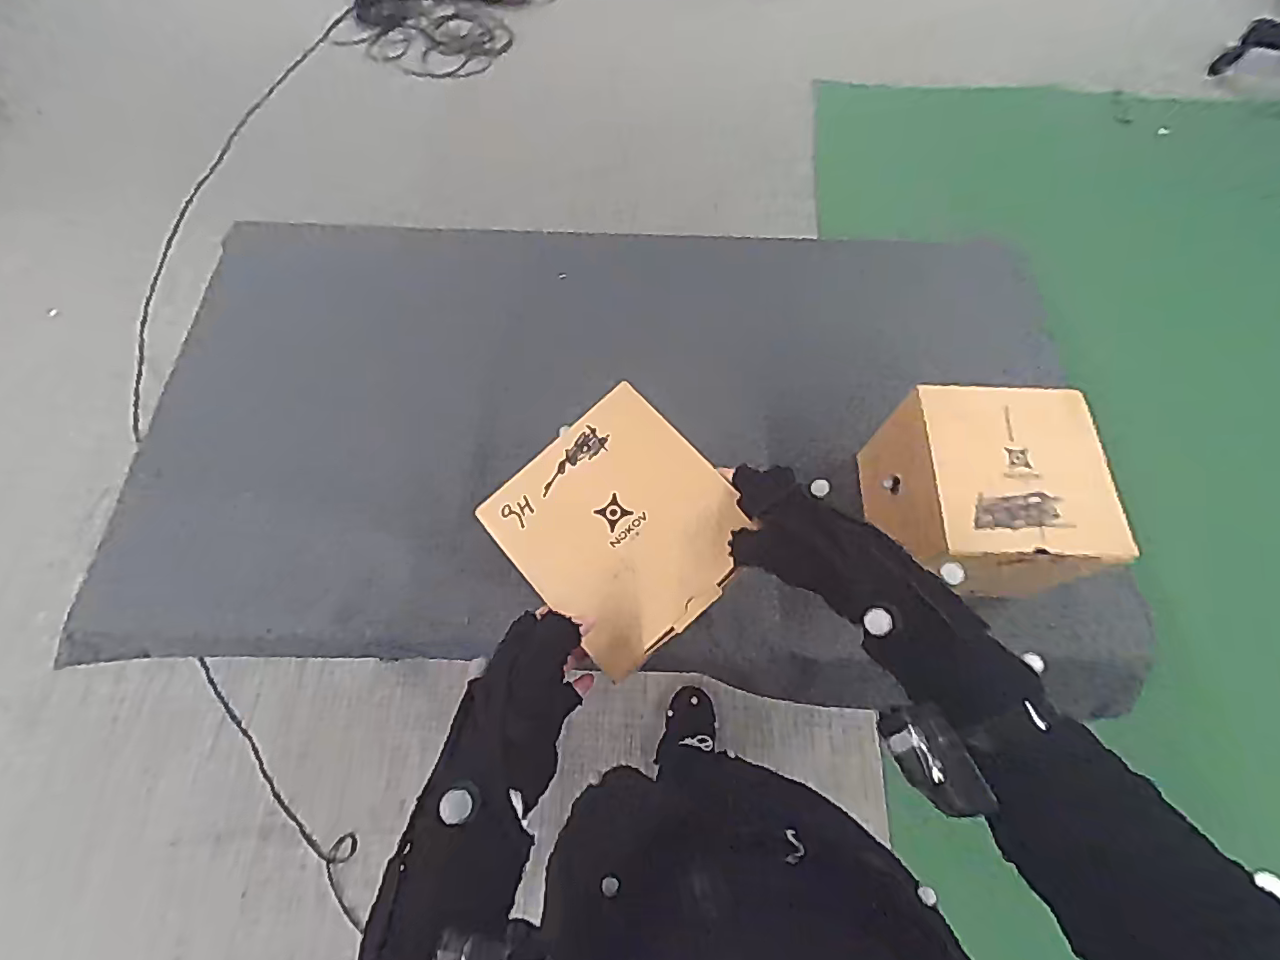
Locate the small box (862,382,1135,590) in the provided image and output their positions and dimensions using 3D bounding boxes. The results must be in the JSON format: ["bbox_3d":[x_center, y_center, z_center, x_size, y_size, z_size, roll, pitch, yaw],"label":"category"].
[{"bbox_3d":[0.356,0.016,0.579,0.168,0.176,0.179,2,67,1],"label":"small box"}]

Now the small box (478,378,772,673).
[{"bbox_3d":[-0.006,0.045,0.497,0.168,0.176,0.179,-44,76,-6],"label":"small box"}]
